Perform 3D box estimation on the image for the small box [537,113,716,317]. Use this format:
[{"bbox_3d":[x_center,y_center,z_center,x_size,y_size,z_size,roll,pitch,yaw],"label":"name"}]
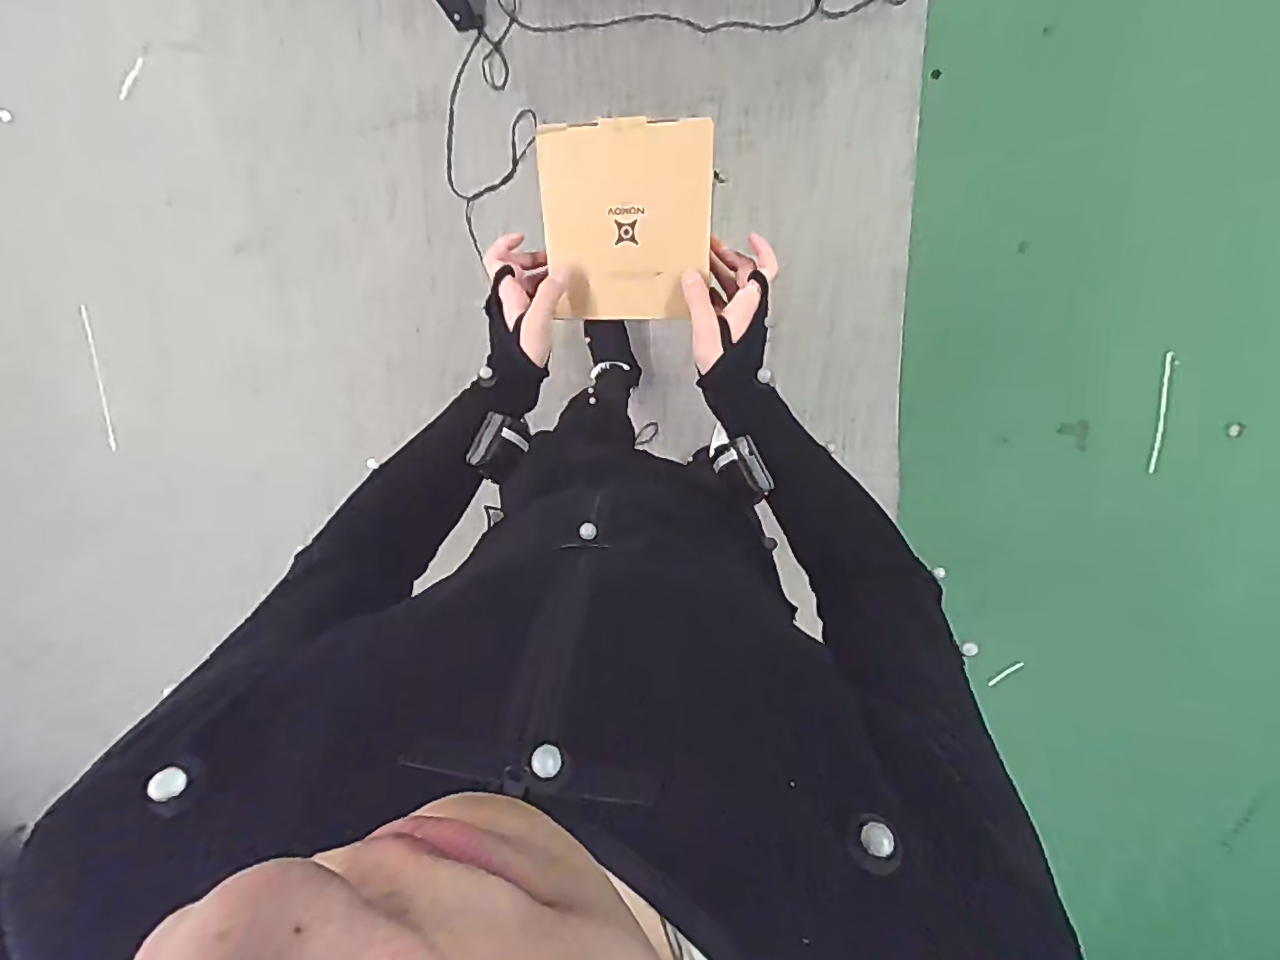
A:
[{"bbox_3d":[-0.003,-0.284,0.593,0.168,0.176,0.179,2,118,8],"label":"small box"}]
